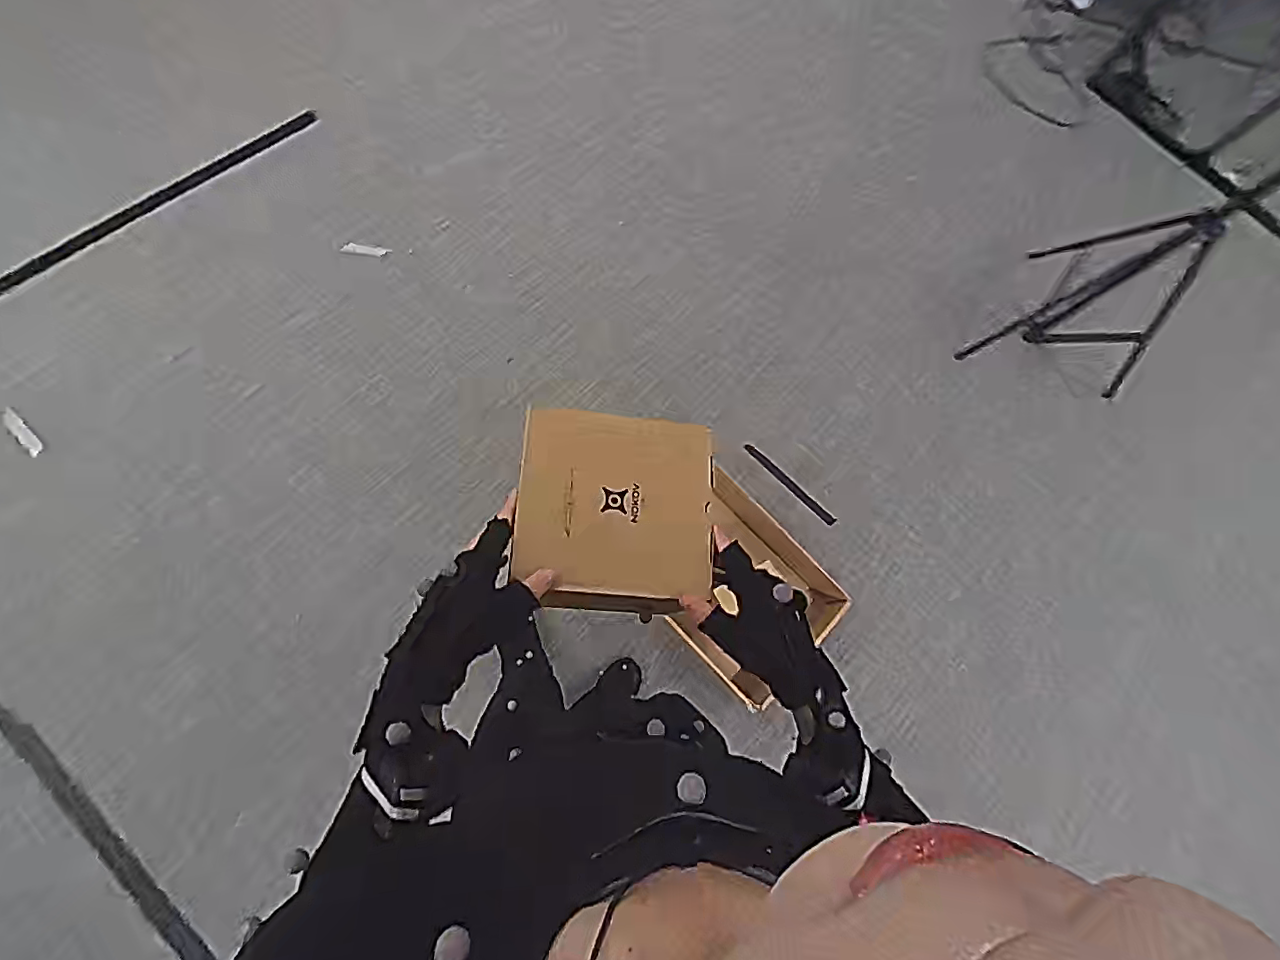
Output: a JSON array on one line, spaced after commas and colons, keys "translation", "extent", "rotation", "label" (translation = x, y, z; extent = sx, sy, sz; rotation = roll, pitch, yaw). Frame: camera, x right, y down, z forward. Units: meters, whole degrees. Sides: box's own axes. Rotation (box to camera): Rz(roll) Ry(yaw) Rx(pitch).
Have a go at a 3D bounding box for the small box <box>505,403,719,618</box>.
[{"translation": [-0.033, 0.043, 0.531], "extent": [0.179, 0.176, 0.168], "rotation": [4, 70, -10], "label": "small box"}]
